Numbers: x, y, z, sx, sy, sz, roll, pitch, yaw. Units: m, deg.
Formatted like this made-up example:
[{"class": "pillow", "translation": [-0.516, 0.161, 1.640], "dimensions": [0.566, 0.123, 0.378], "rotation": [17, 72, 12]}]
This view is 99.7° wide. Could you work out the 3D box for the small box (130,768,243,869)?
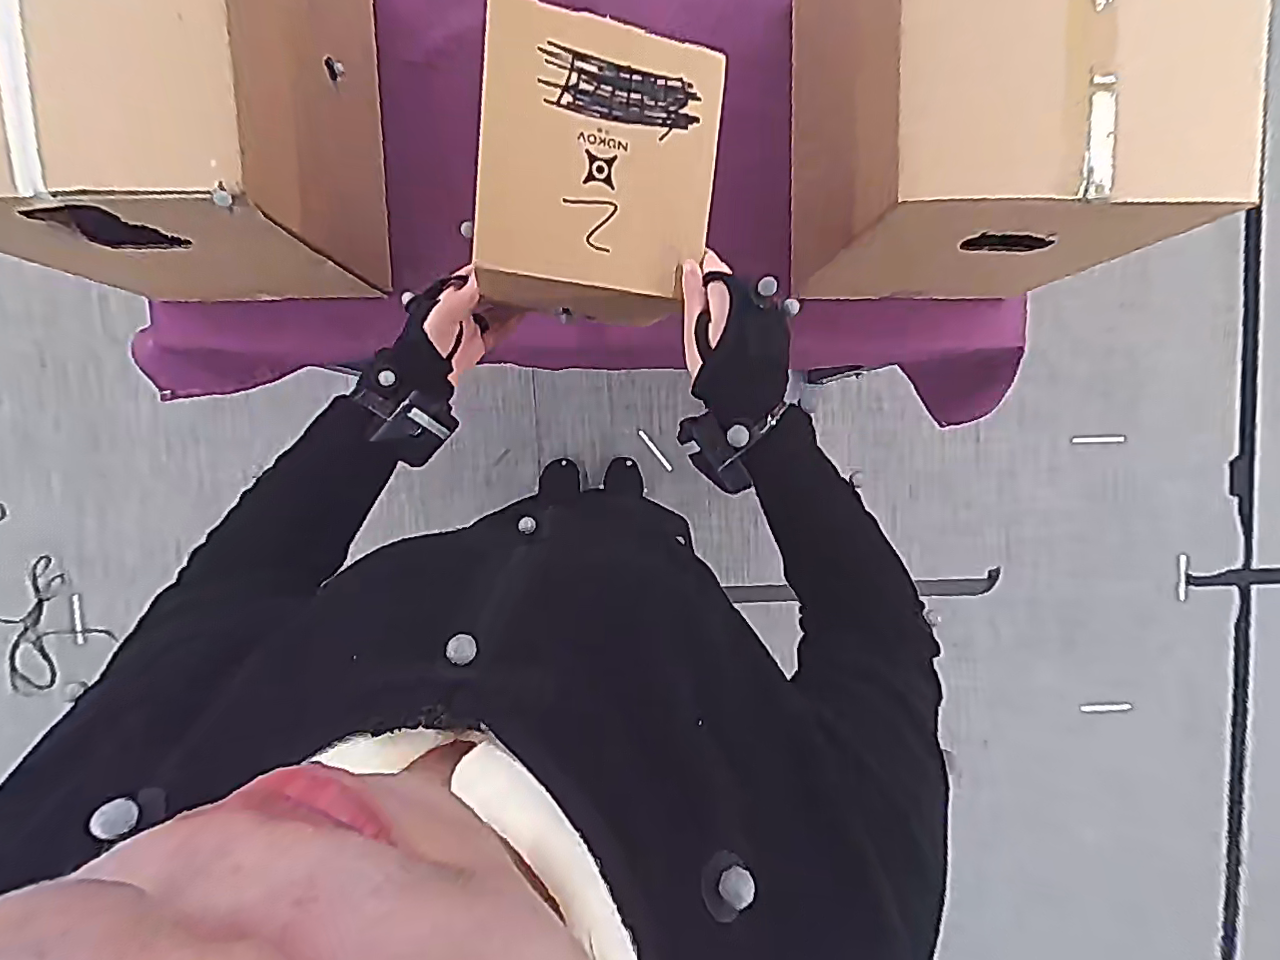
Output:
[{"class": "small box", "translation": [-1.204, 0.898, 1.447], "dimensions": [0.179, 0.176, 0.168], "rotation": [4, 95, -2]}]
